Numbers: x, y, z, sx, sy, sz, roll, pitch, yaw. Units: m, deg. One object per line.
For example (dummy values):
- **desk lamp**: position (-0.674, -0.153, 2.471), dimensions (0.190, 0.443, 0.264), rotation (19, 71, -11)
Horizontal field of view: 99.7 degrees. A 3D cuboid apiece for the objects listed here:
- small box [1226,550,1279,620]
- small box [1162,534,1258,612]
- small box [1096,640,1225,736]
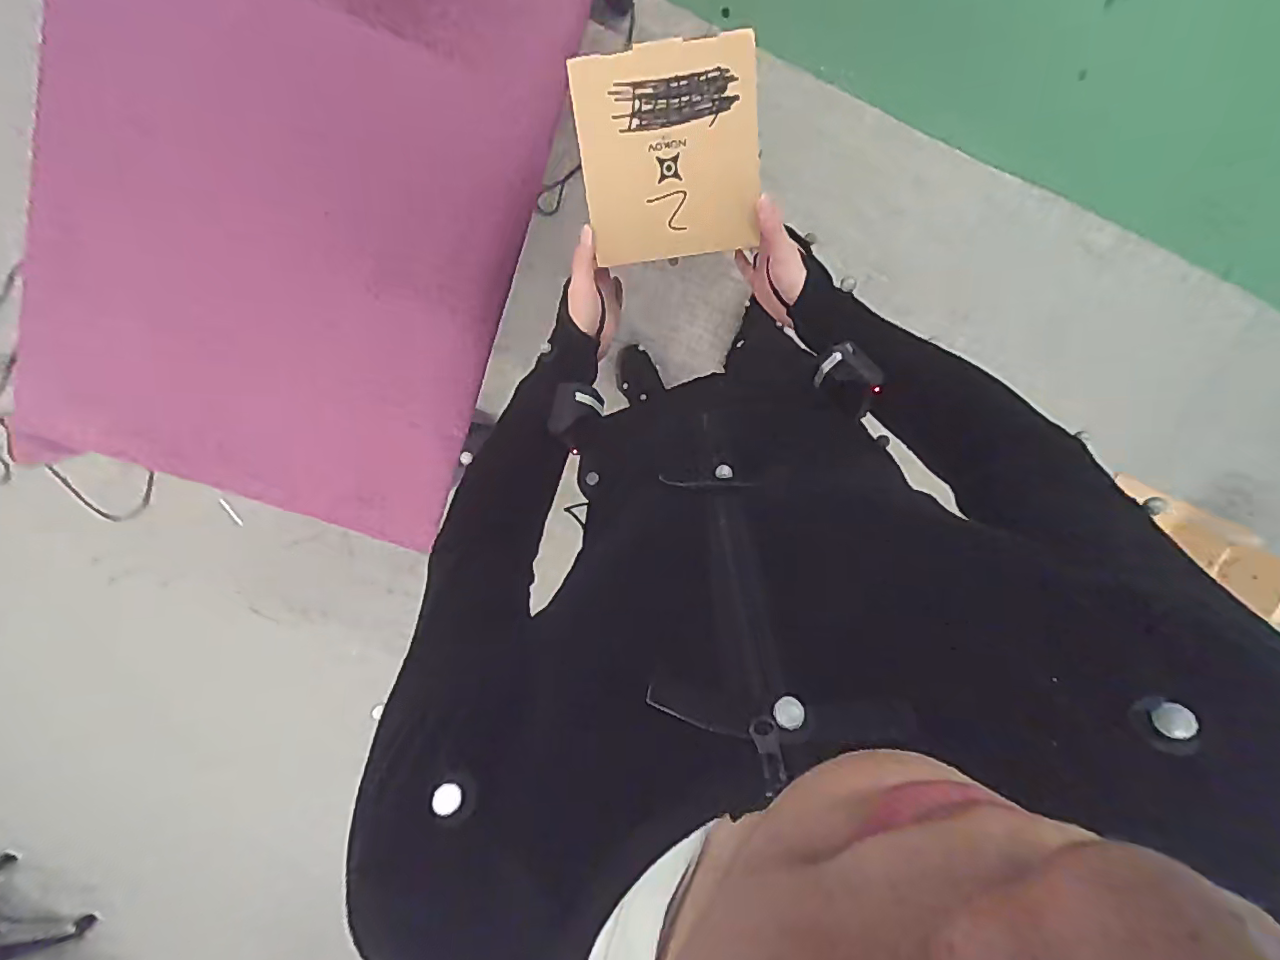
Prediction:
- **small box**: position (1.828, 0.312, 1.510), dimensions (0.179, 0.176, 0.168), rotation (15, 105, -7)
- **small box**: position (1.801, 0.282, 1.672), dimensions (0.179, 0.176, 0.168), rotation (14, 104, -6)
- **small box**: position (1.499, 0.594, 1.572), dimensions (0.179, 0.176, 0.168), rotation (29, 102, -11)
